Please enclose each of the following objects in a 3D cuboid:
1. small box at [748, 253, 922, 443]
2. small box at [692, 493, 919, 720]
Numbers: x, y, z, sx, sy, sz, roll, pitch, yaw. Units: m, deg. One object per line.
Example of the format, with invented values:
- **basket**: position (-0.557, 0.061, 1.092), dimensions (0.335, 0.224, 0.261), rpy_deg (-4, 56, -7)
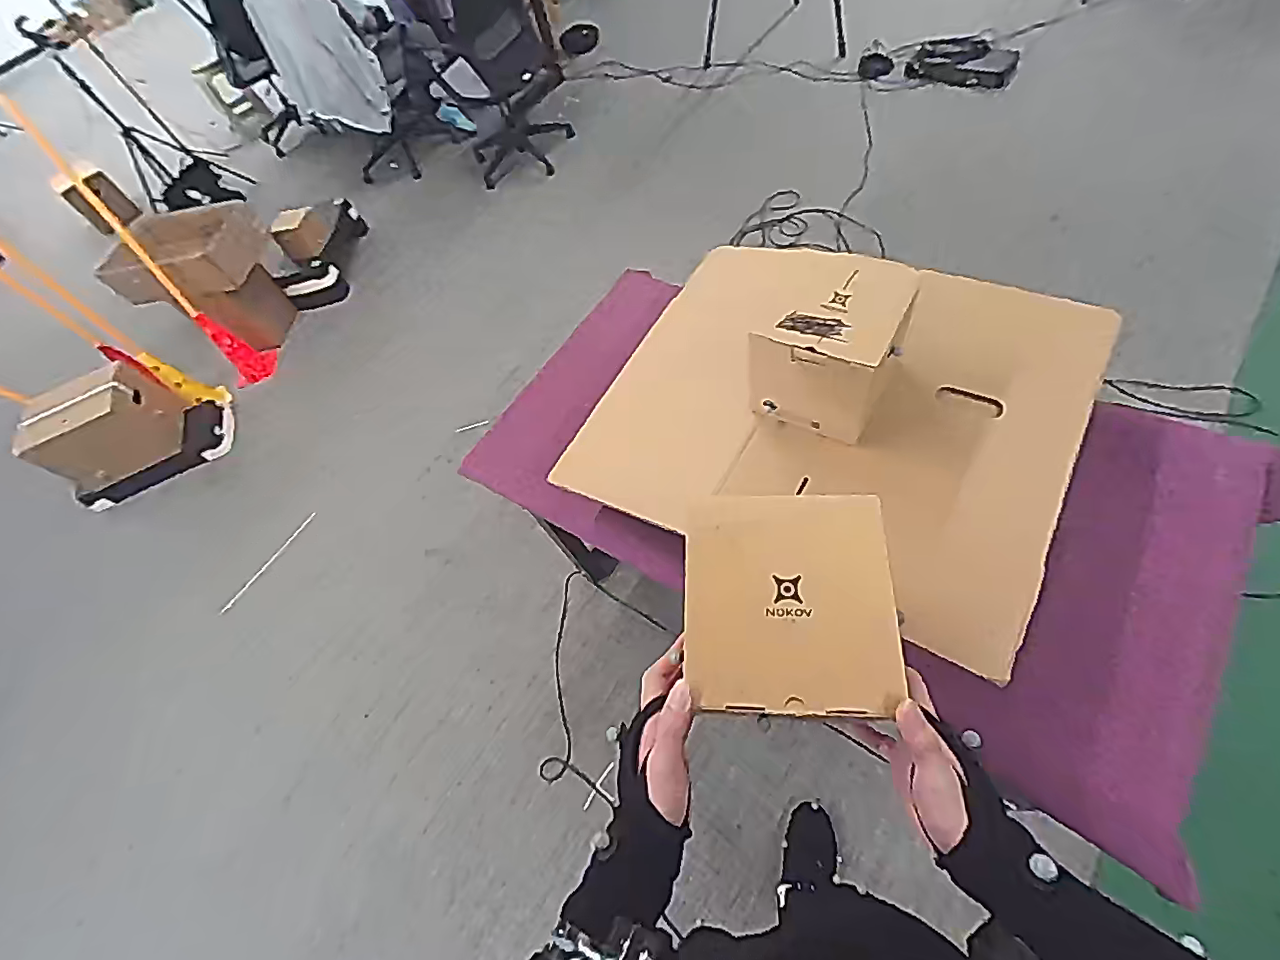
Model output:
- **small box**: position (0.266, -0.180, 0.760), dimensions (0.168, 0.176, 0.179), rpy_deg (24, 67, 23)
- **small box**: position (0.133, 0.124, 0.504), dimensions (0.168, 0.176, 0.179), rpy_deg (0, 67, 7)
